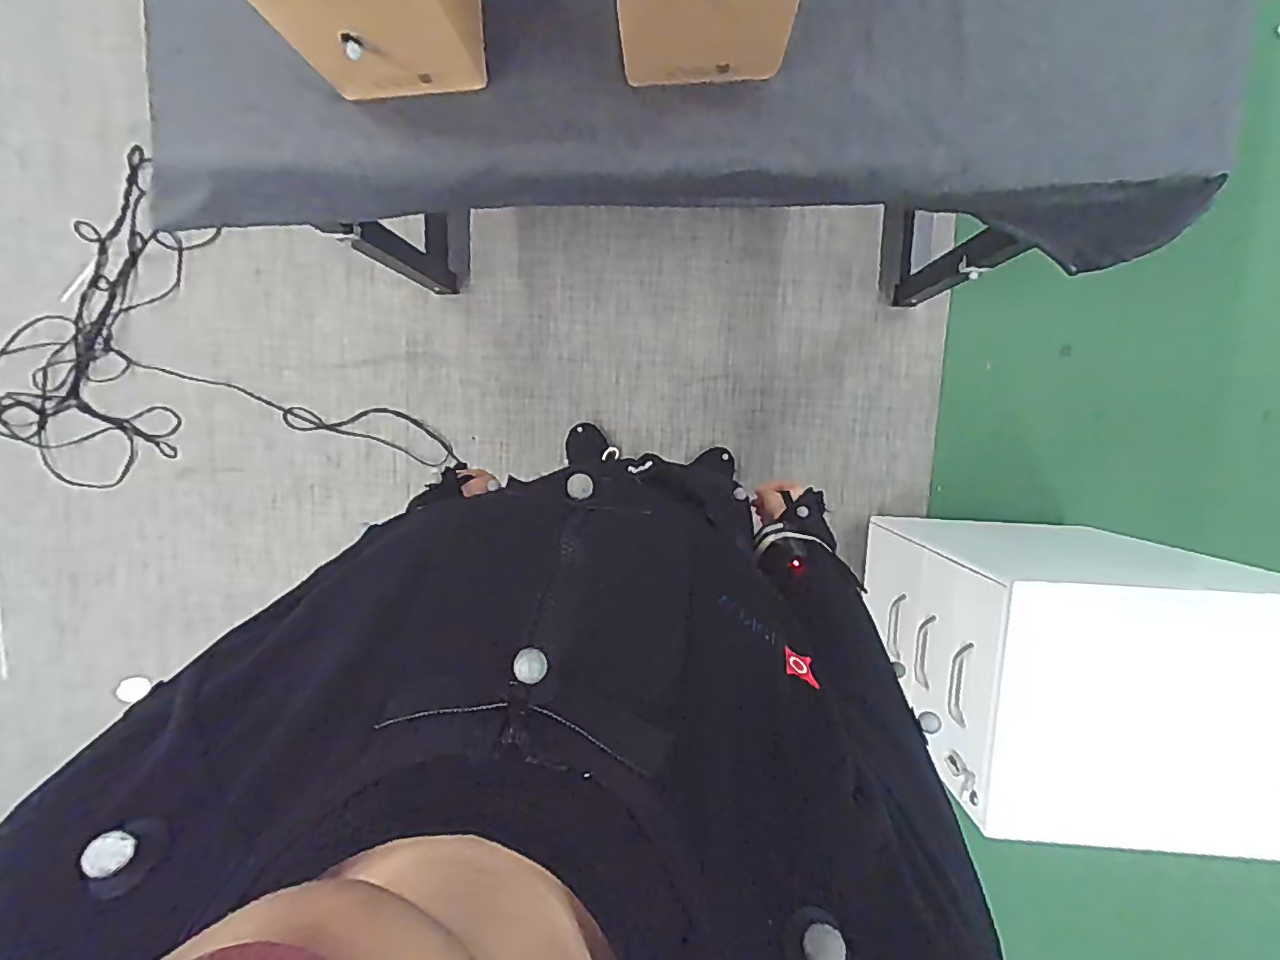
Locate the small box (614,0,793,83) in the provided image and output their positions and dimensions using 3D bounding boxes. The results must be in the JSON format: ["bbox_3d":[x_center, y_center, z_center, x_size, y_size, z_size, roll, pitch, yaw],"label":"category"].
[{"bbox_3d":[0.057,-0.519,0.507,0.168,0.176,0.179,-1,95,3],"label":"small box"}]

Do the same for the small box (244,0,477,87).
[{"bbox_3d":[-0.267,-0.514,0.519,0.168,0.176,0.179,-3,95,2],"label":"small box"}]
